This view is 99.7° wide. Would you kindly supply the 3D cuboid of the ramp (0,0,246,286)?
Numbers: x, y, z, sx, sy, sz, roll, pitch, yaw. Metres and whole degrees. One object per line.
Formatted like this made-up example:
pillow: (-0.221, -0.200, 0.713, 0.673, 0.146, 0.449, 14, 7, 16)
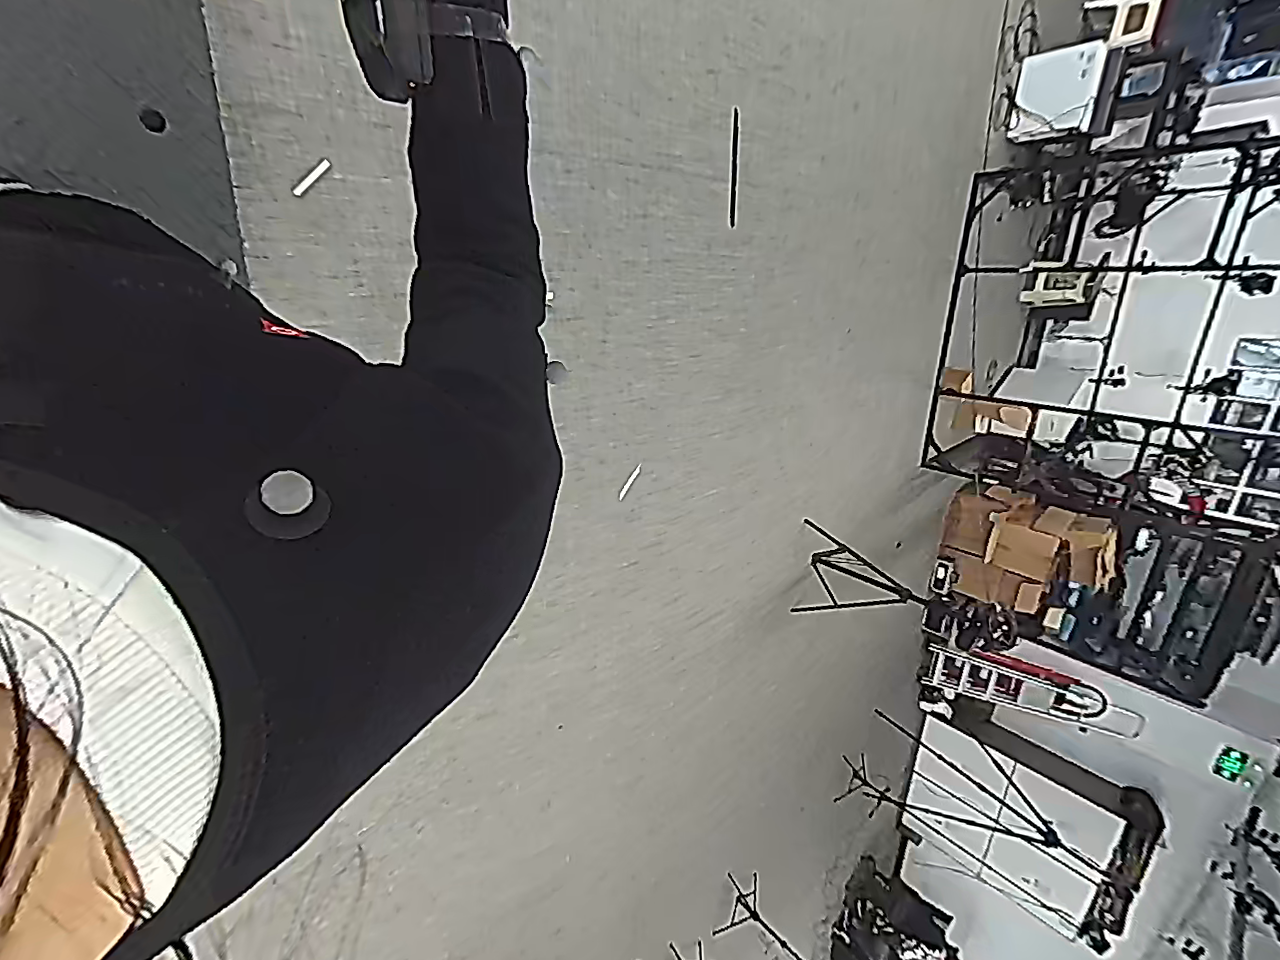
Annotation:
ramp: (-0.945, -0.805, 0.781, 0.509, 0.206, 0.991, -18, 117, -40)
